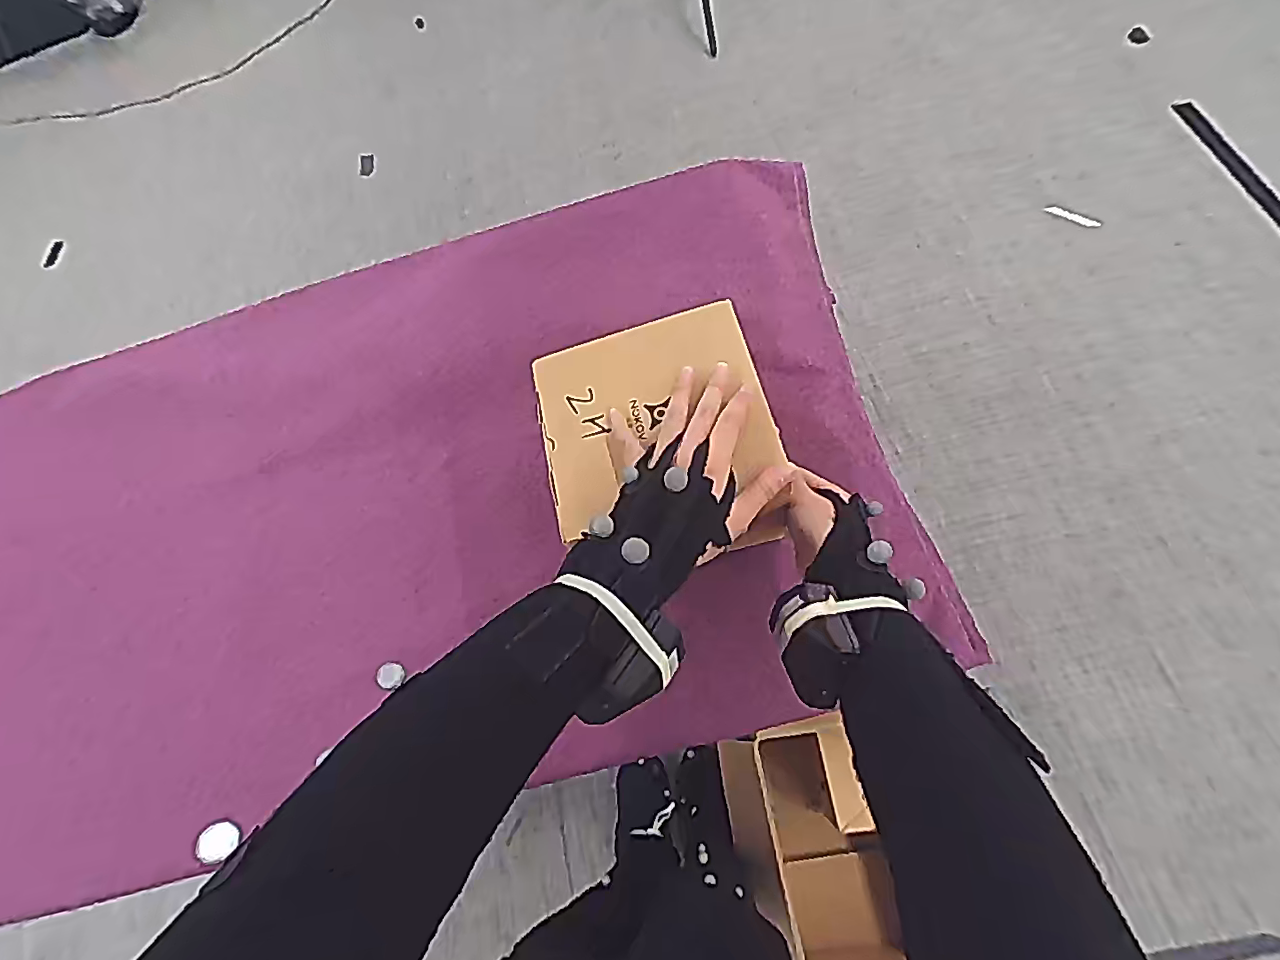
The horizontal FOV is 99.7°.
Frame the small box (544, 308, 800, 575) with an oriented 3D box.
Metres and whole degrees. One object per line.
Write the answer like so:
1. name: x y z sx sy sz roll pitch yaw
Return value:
1. small box: 0.030 -0.022 0.498 0.179 0.176 0.168 -15 68 6
